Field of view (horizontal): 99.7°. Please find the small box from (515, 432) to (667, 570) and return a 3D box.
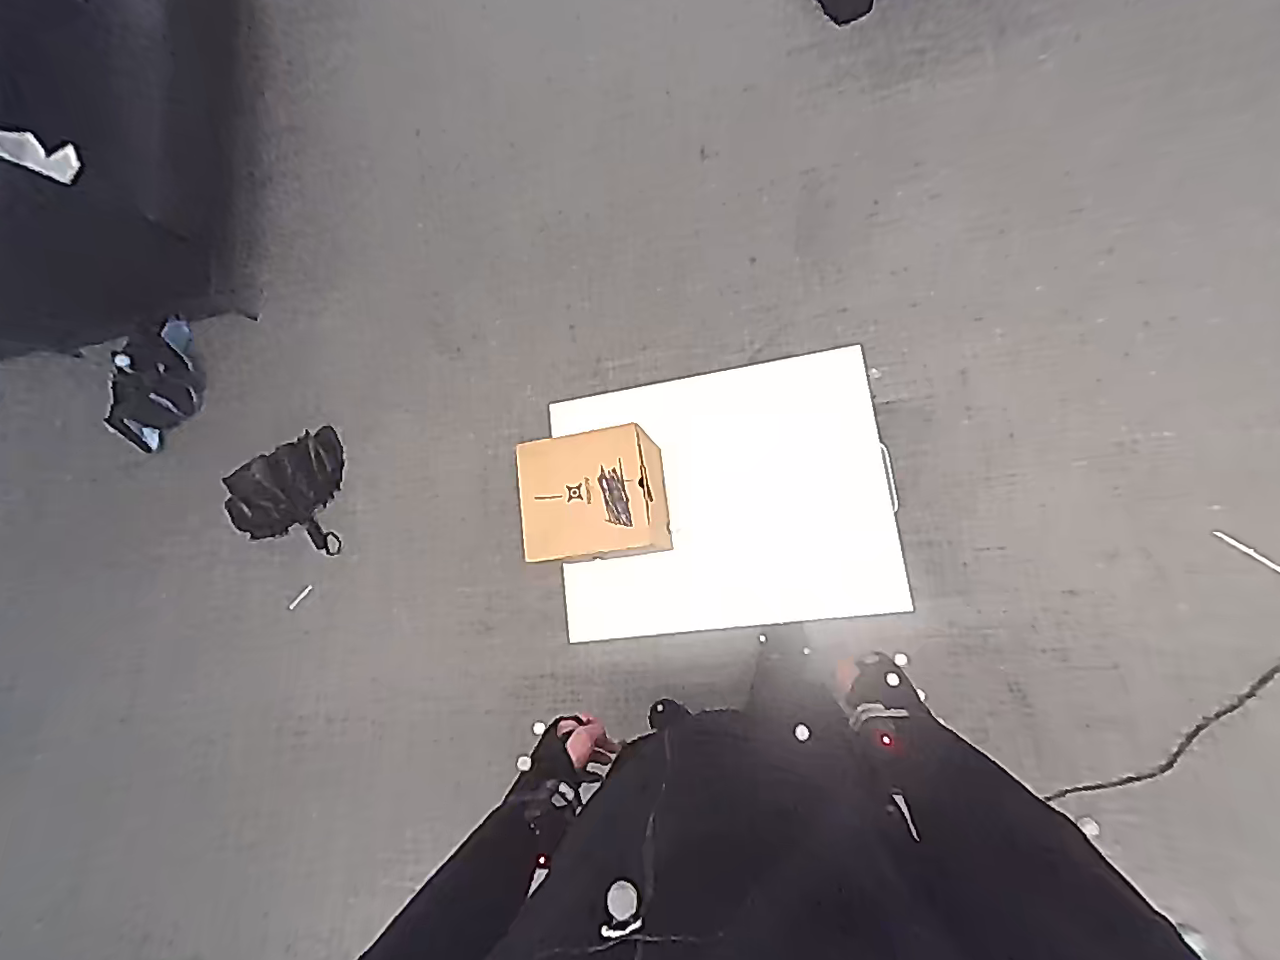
[{"bbox_3d":[-0.062,0.039,0.789,0.179,0.176,0.168,-9,78,12],"label":"small box"}]
